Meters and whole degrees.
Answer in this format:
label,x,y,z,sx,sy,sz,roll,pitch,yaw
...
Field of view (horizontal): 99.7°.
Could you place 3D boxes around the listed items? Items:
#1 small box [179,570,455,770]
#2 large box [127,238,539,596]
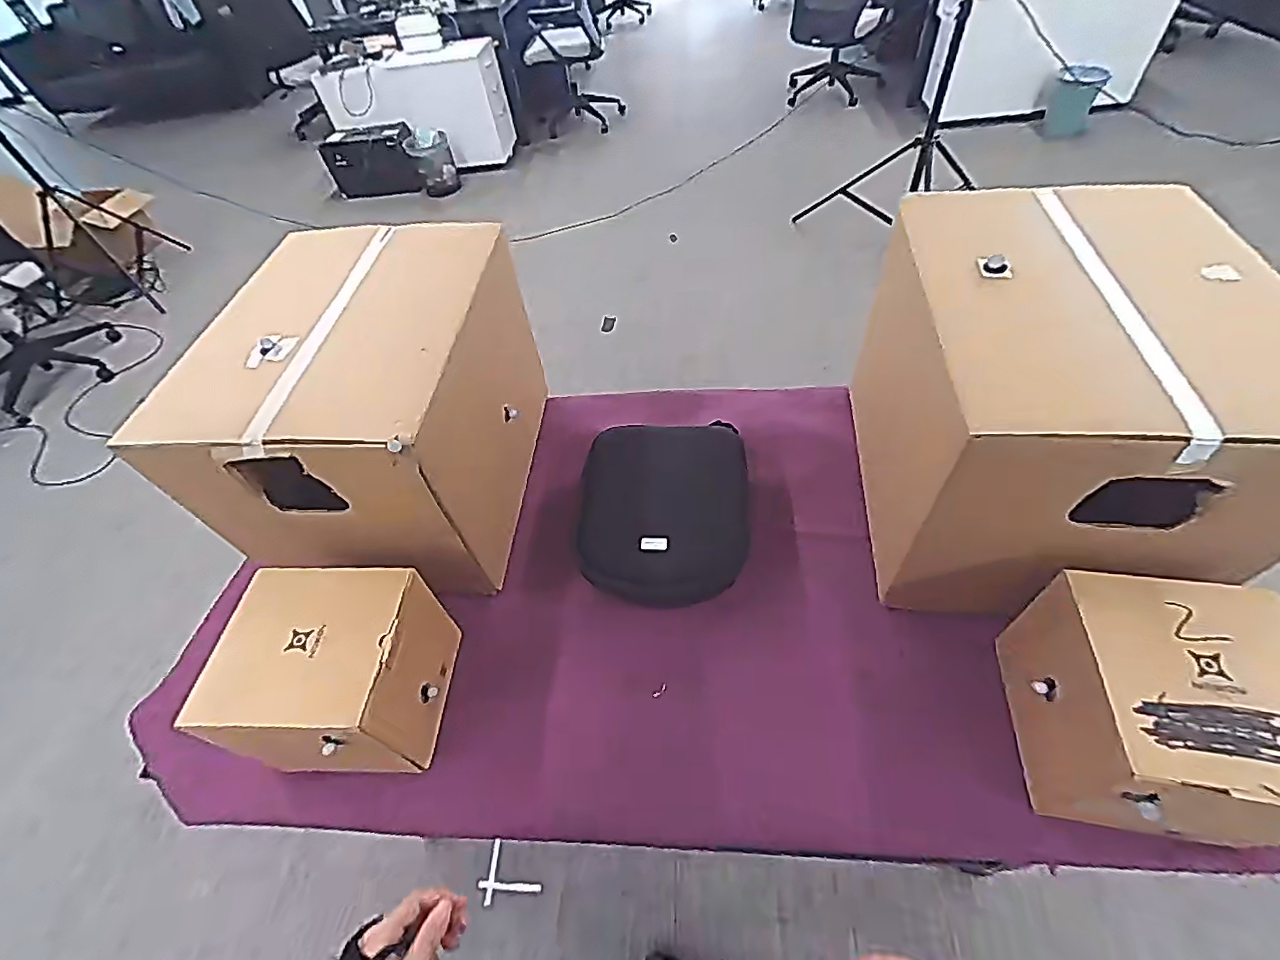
label,x,y,z,sx,sy,sz,roll,pitch,yaw
small box,-0.332,0.214,0.602,0.179,0.176,0.168,-1,50,2
large box,-0.344,-0.086,0.758,0.320,0.320,0.408,-1,54,5
